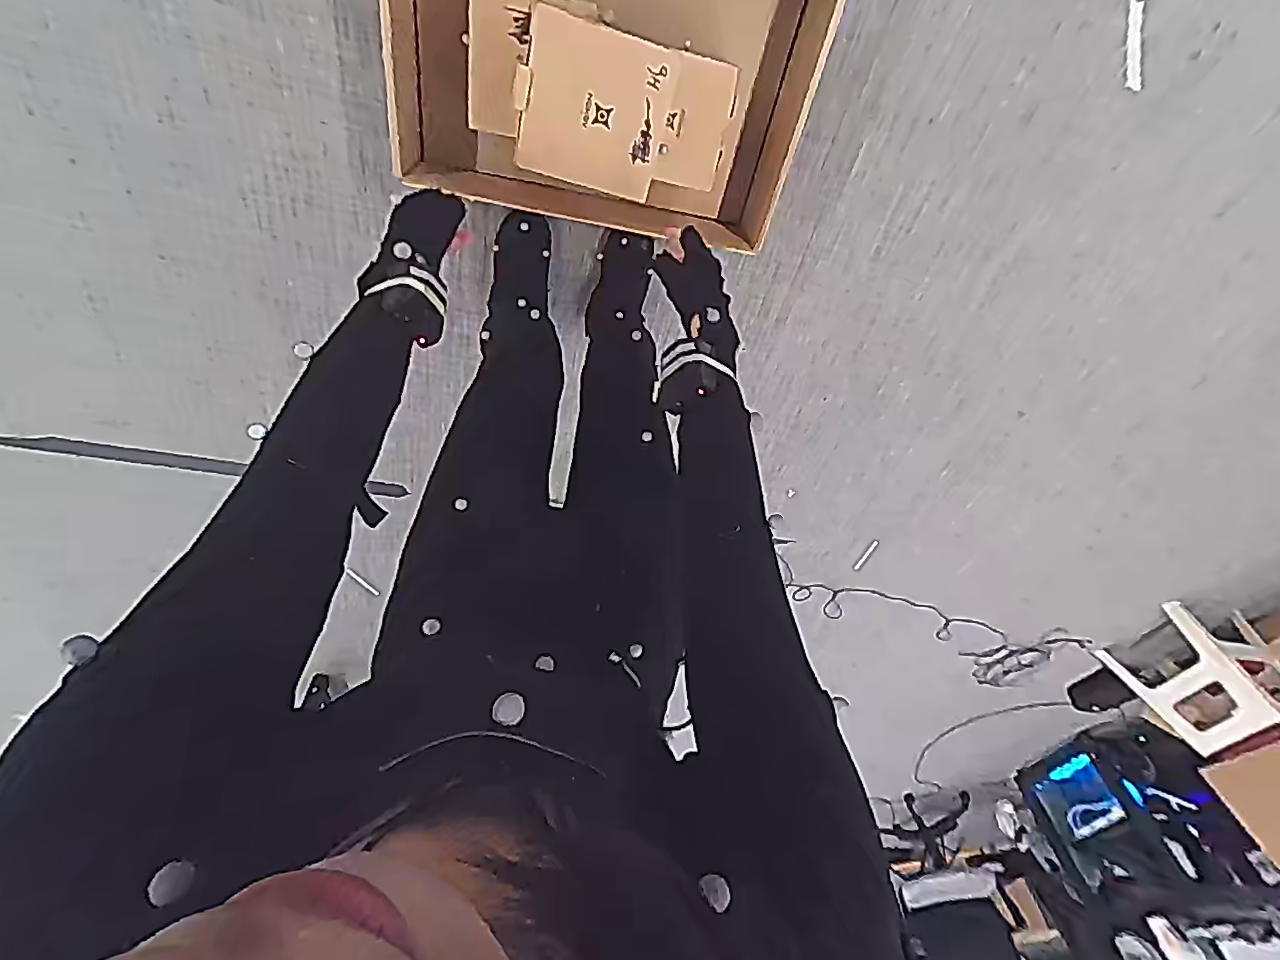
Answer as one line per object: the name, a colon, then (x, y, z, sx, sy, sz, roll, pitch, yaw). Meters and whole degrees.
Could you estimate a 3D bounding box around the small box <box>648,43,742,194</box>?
small box: (0.041, -0.582, 0.861, 0.179, 0.176, 0.168, 9, 129, -10)

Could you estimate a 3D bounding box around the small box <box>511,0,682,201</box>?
small box: (-0.062, -0.495, 0.710, 0.179, 0.176, 0.168, 10, 128, -14)
